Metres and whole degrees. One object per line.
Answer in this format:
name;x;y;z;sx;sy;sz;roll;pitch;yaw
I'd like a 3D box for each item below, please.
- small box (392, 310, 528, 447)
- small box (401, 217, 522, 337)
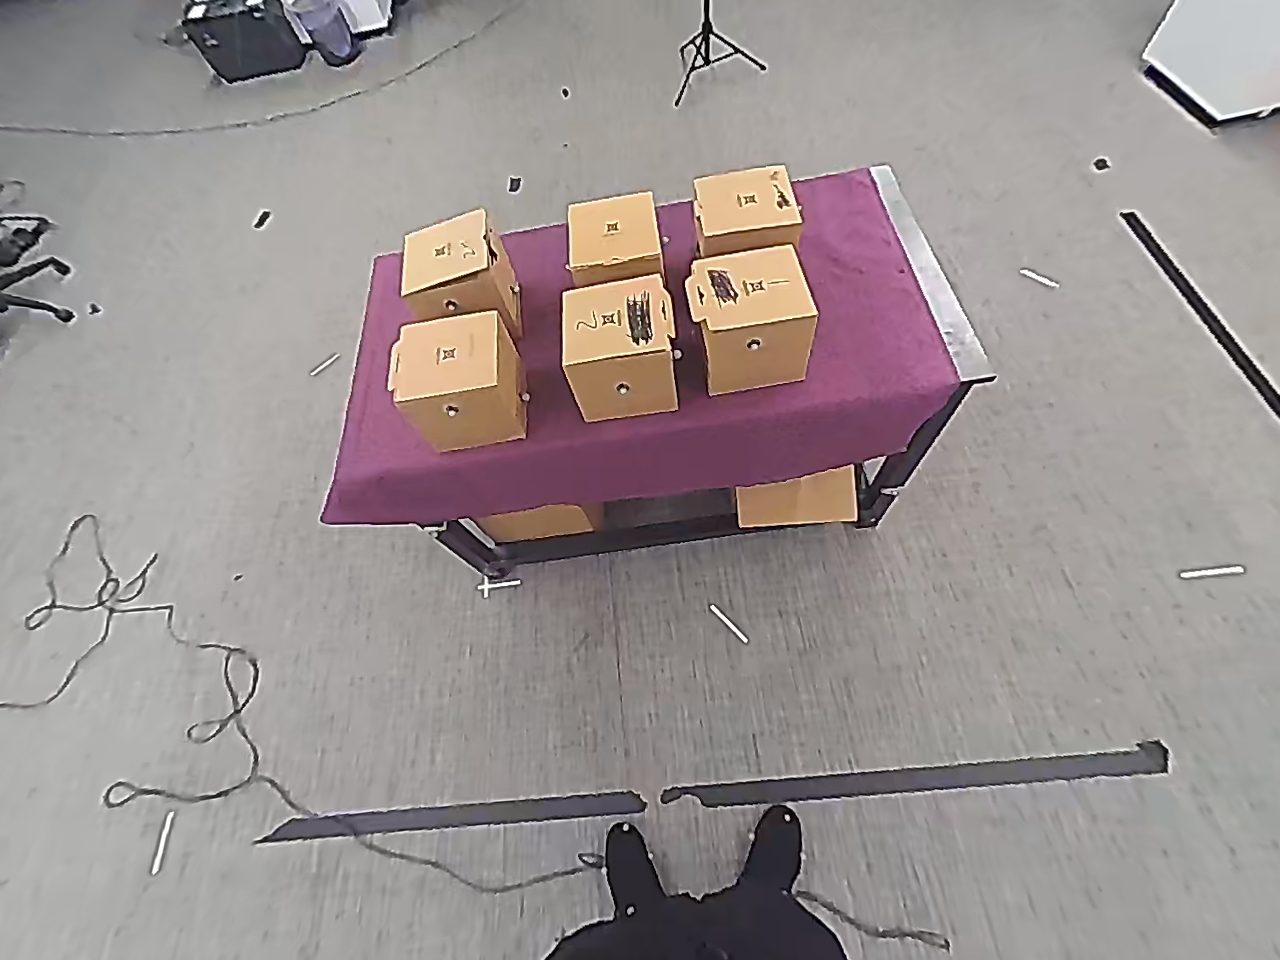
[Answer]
small box;-0.311;-0.174;0.970;0.179;0.176;0.168;-8;63;3
small box;-0.348;-0.385;1.080;0.179;0.176;0.168;-10;63;2
